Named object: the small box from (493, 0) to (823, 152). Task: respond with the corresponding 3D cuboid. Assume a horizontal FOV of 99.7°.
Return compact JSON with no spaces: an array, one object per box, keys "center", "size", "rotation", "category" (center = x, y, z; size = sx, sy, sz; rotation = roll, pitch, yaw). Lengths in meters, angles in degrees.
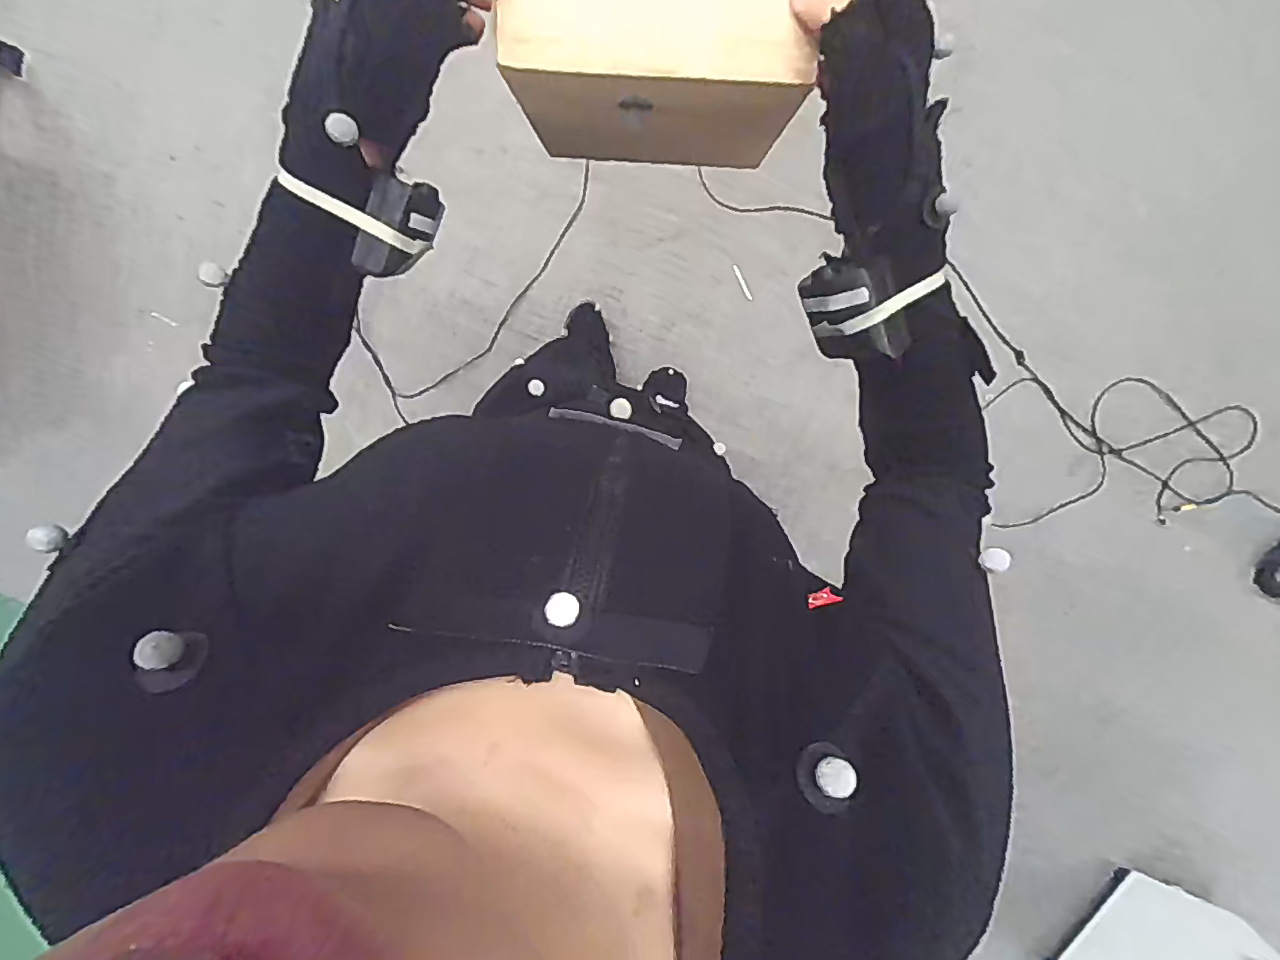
[{"center":[0.014,-0.328,0.346],"size":[0.179,0.176,0.168],"rotation":[3,107,-1],"category":"small box"}]
